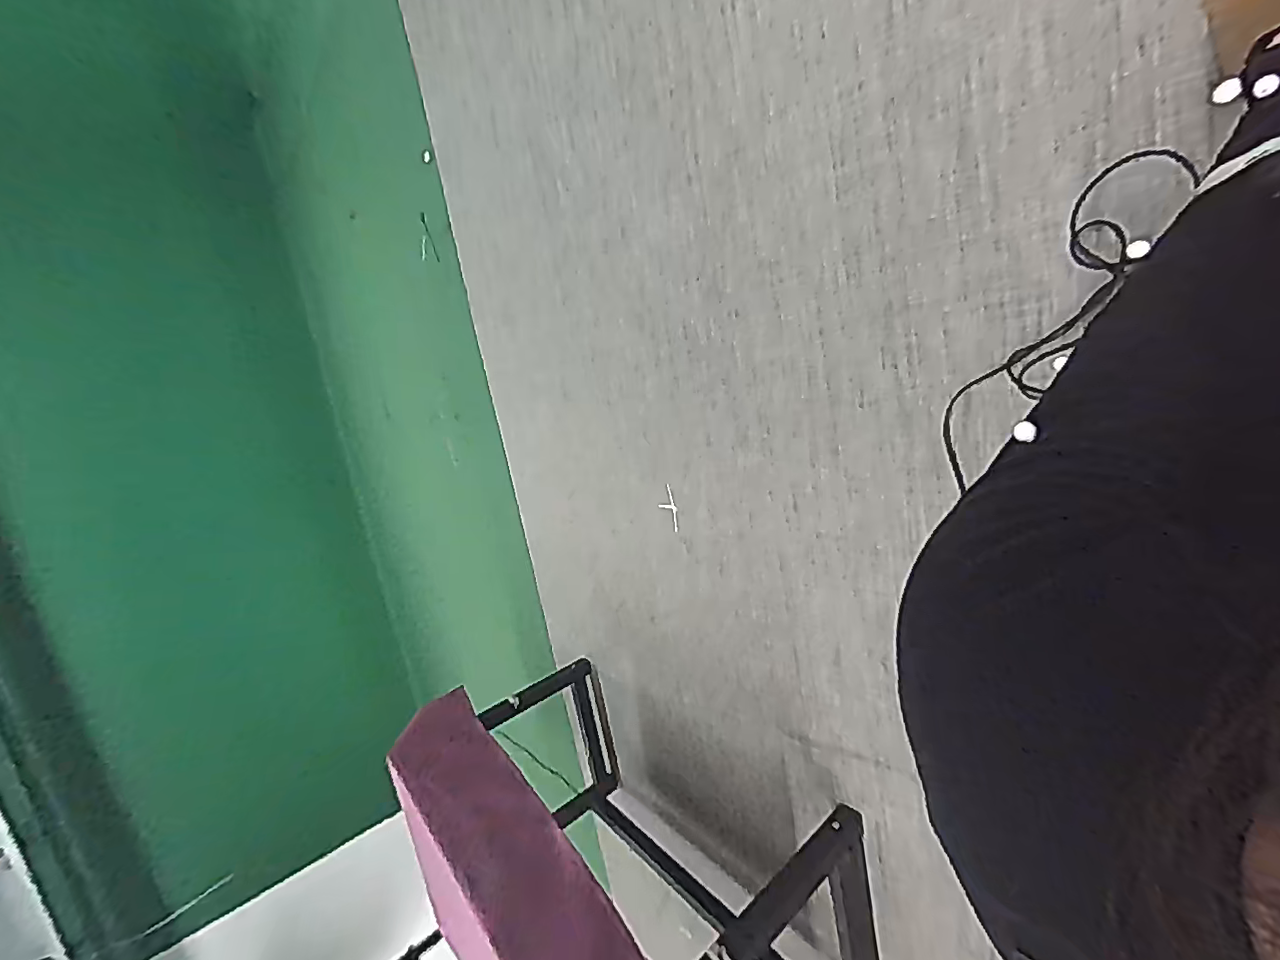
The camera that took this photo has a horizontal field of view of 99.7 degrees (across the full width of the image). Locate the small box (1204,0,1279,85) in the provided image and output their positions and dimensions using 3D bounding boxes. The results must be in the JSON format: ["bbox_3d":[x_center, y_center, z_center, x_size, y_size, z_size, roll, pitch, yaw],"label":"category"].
[{"bbox_3d":[0.570,-0.457,0.414,0.168,0.176,0.179,17,104,49],"label":"small box"}]
